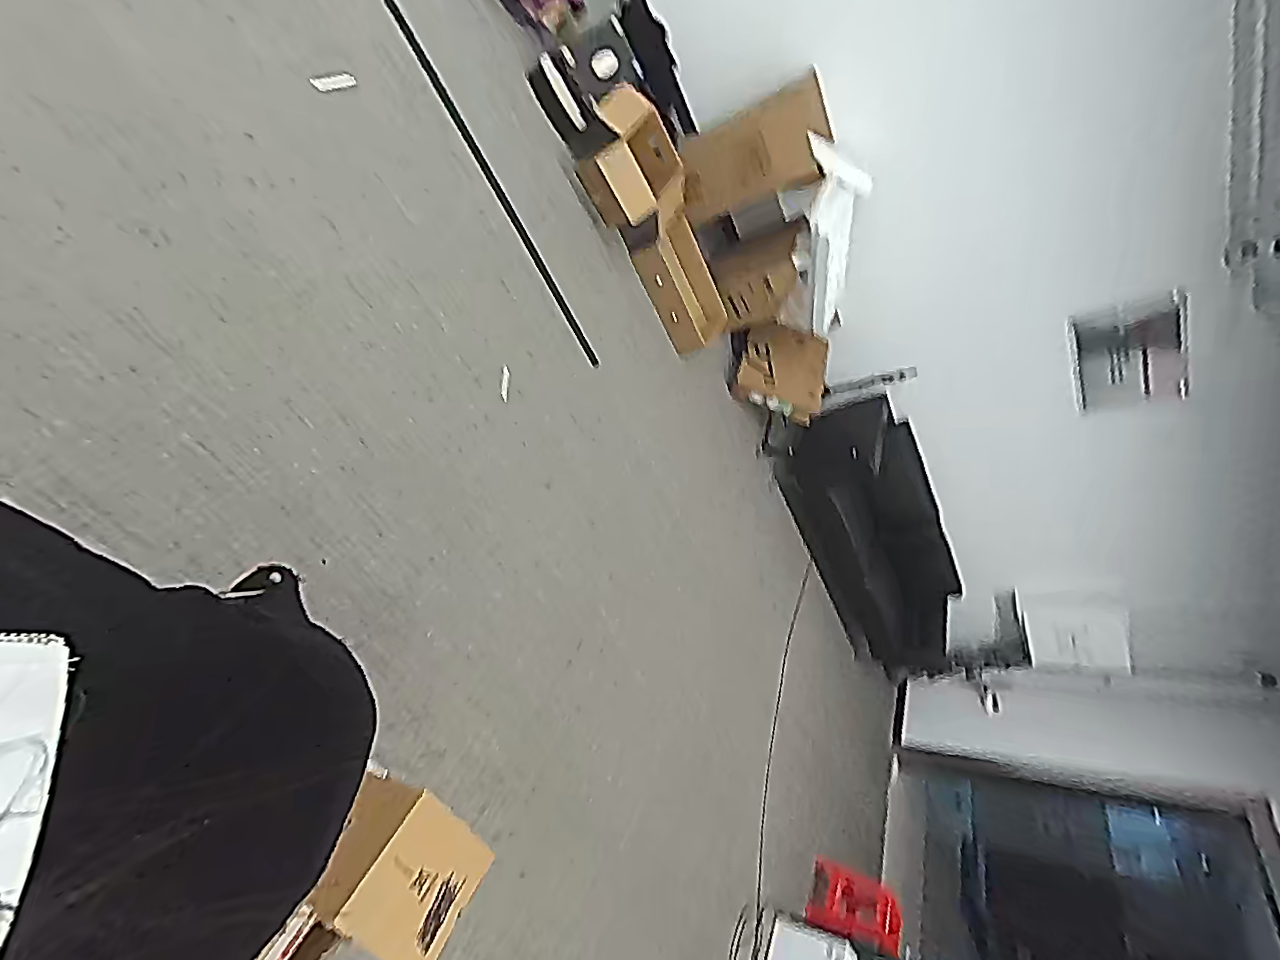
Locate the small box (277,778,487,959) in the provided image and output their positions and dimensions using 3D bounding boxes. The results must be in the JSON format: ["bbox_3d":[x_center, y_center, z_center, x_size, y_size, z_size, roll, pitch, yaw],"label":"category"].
[{"bbox_3d":[-0.364,0.558,0.774,0.179,0.176,0.168,60,40,-22],"label":"small box"}]
